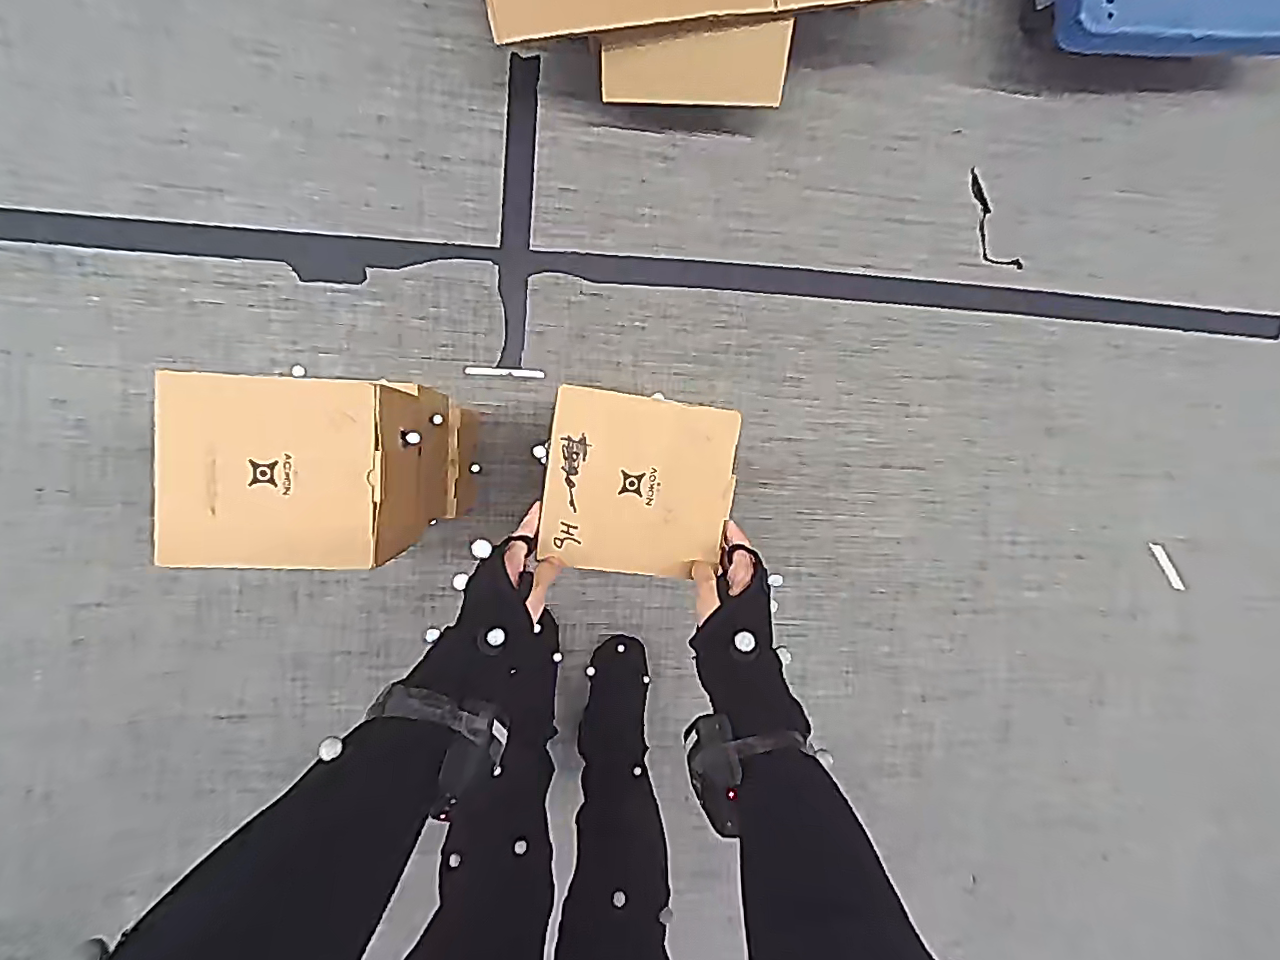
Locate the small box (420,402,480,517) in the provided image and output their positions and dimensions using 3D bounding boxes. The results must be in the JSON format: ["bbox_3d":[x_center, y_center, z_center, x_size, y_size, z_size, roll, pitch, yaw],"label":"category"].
[{"bbox_3d":[-0.360,-0.037,0.857,0.179,0.176,0.168,3,94,-9],"label":"small box"}]

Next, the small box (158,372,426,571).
[{"bbox_3d":[-0.319,-0.009,0.533,0.179,0.176,0.168,2,92,-8],"label":"small box"}]

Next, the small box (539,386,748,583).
[{"bbox_3d":[-0.008,0.000,0.575,0.179,0.176,0.168,8,93,-10],"label":"small box"}]
